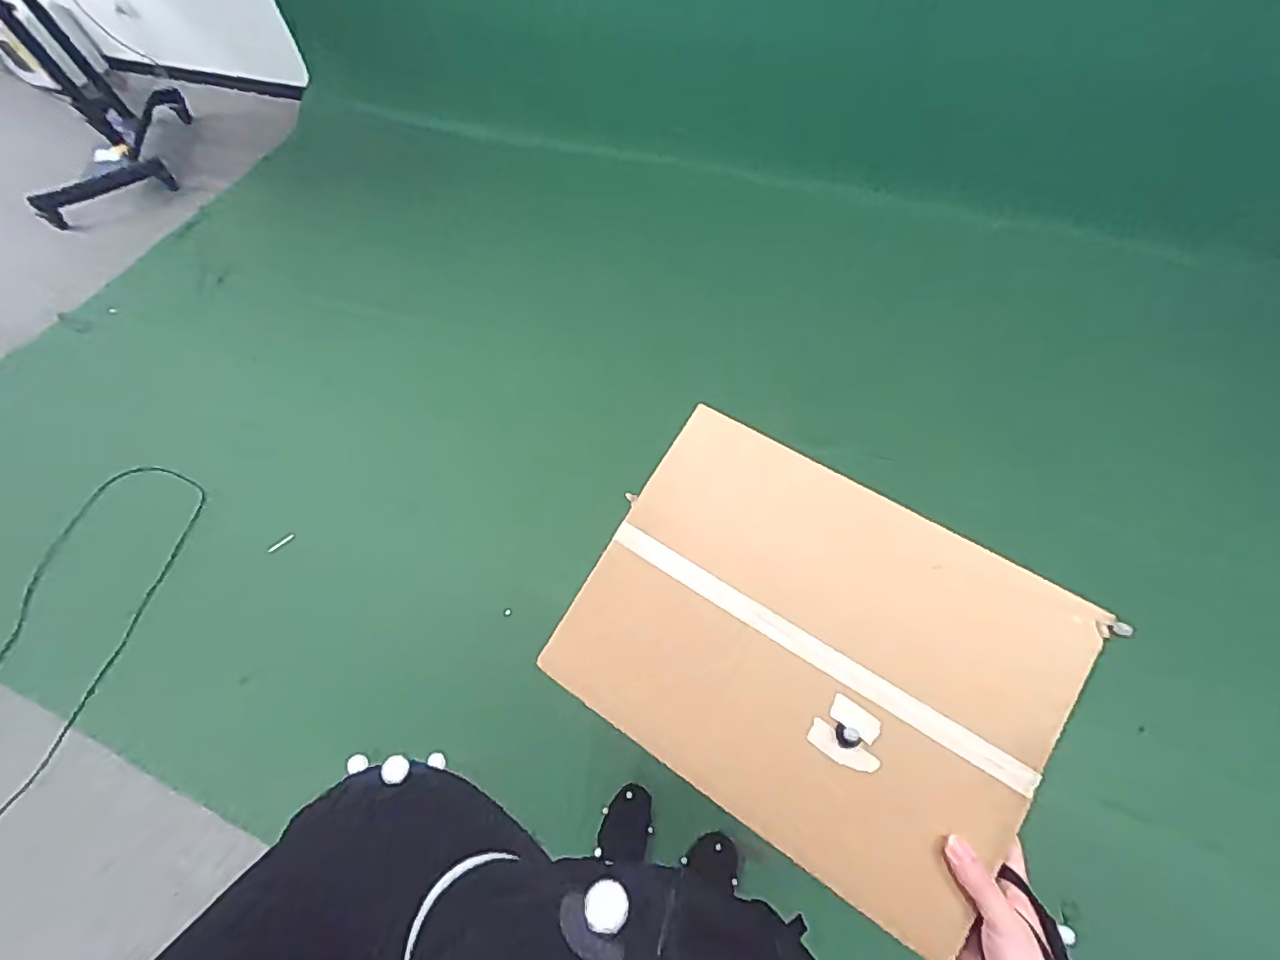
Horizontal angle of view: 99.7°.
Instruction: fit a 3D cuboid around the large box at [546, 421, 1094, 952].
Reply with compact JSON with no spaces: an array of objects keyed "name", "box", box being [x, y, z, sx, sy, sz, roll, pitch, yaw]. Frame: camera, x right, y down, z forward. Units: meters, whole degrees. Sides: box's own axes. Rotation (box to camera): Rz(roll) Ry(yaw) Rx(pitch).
[{"name":"large box","box":[0.172,0.192,0.638,0.408,0.320,0.320,30,82,16]}]
